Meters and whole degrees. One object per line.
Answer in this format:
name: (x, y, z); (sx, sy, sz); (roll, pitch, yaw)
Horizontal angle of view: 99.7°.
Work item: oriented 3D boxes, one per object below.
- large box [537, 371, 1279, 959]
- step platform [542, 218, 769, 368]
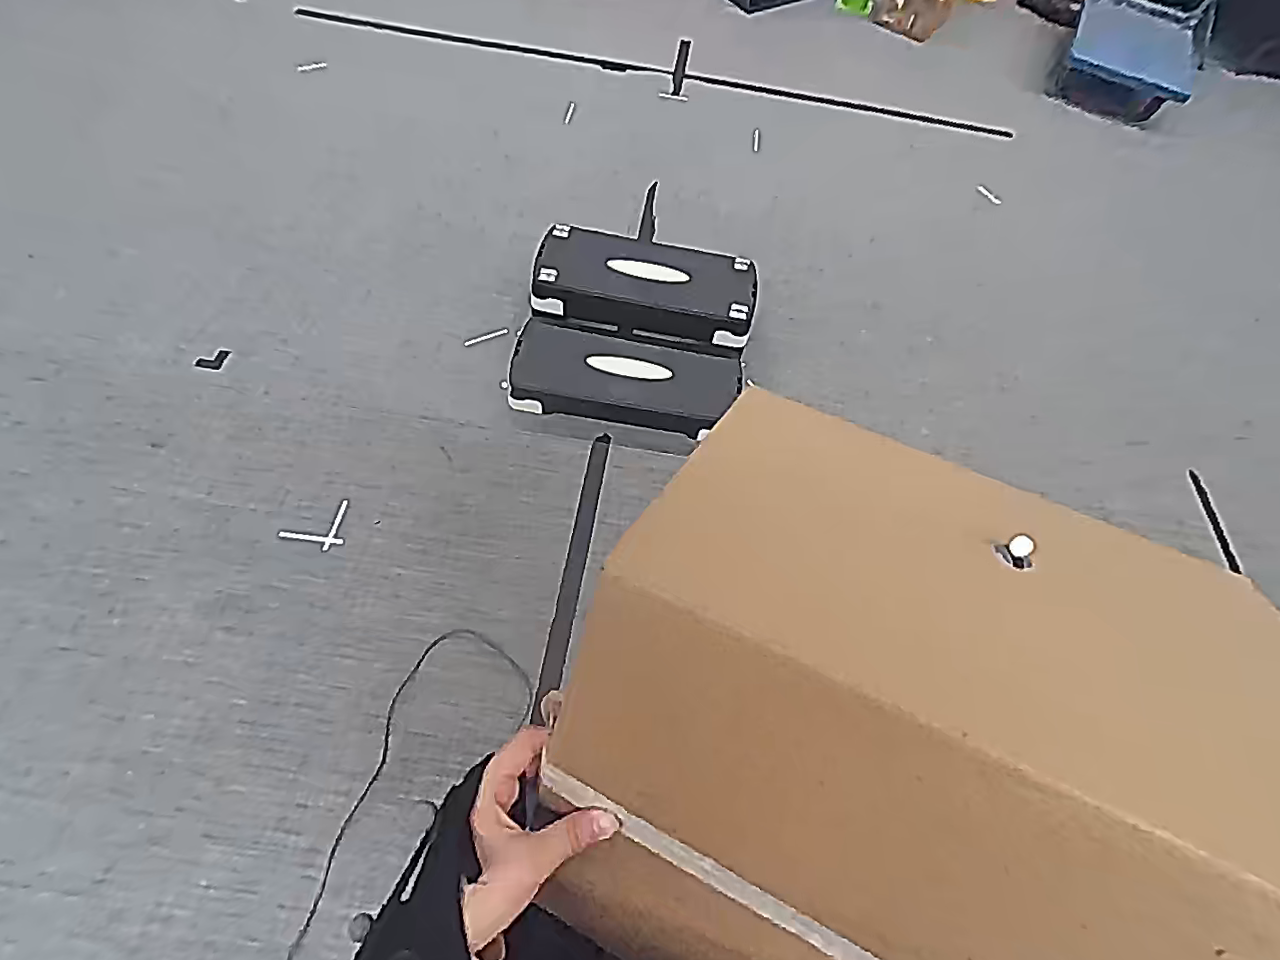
large box: (0.192, 0.155, 0.388); (0.408, 0.320, 0.320); (23, 32, 12)
step platform: (0.049, -0.583, 1.679); (0.684, 0.204, 0.286); (15, 61, 1)
